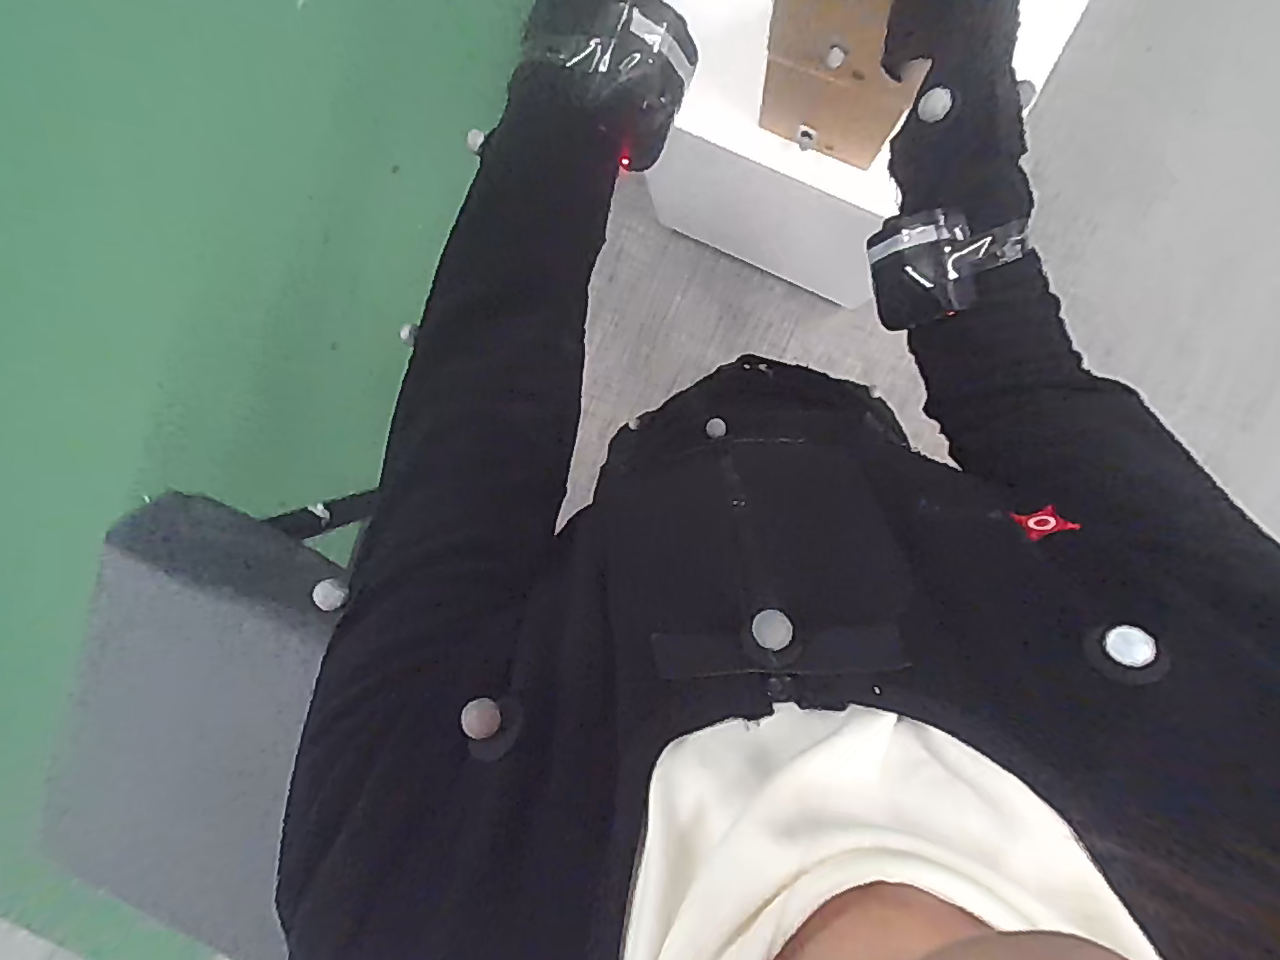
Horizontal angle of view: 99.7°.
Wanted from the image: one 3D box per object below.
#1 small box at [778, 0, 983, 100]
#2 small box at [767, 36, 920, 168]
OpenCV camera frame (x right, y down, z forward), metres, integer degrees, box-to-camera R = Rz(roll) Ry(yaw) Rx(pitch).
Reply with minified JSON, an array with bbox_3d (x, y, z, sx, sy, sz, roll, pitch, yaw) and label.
[{"bbox_3d":[0.234,-0.493,0.477,0.168,0.176,0.179,23,100,5],"label":"small box"},{"bbox_3d":[0.259,-0.513,0.638,0.168,0.176,0.179,25,103,6],"label":"small box"}]
